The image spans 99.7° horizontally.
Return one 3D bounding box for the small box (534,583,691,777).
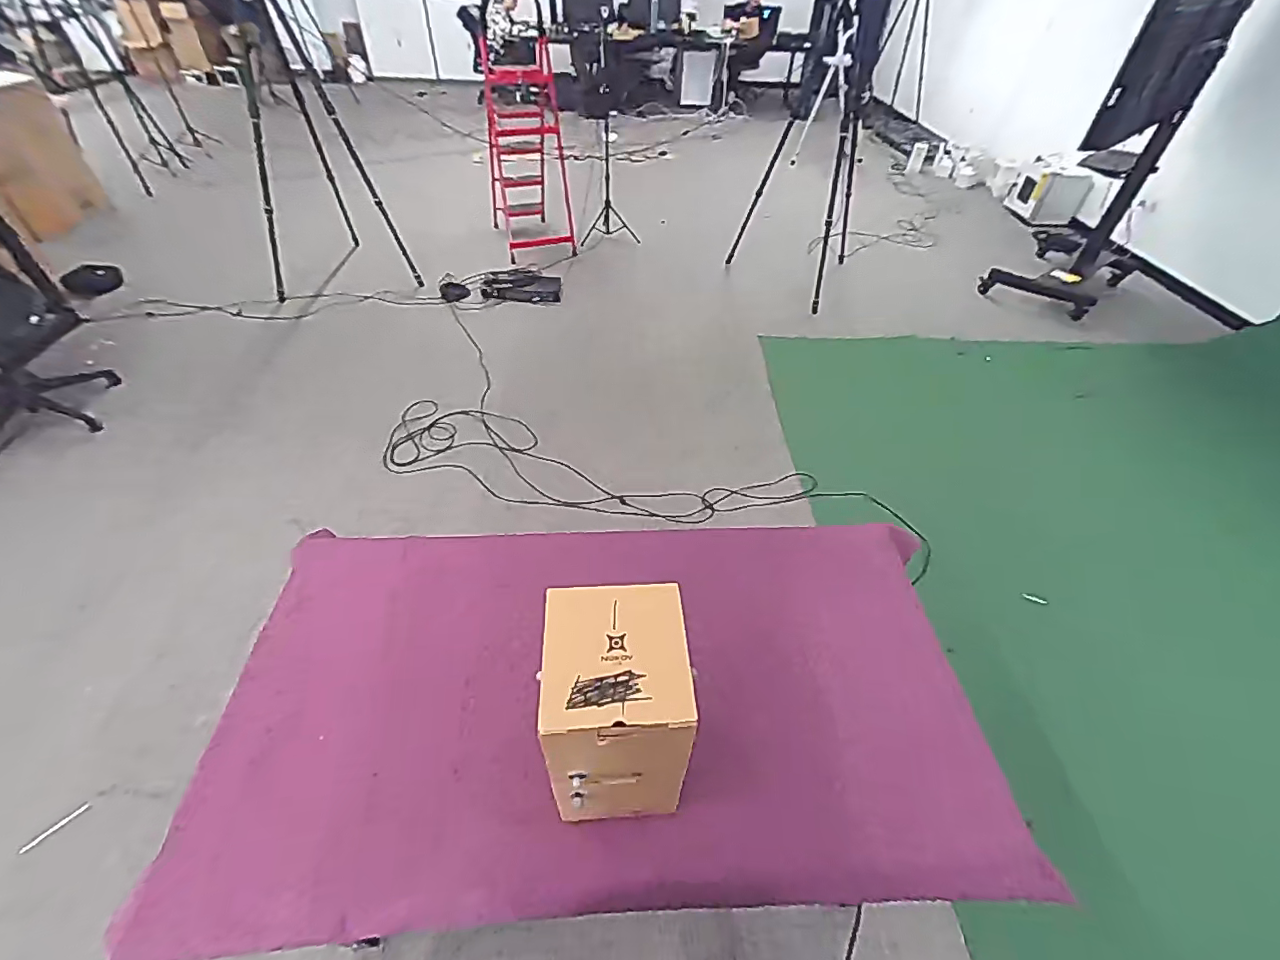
[{"bbox_3d":[-0.033,0.249,0.667,0.168,0.176,0.179,-1,44,-4],"label":"small box"}]
